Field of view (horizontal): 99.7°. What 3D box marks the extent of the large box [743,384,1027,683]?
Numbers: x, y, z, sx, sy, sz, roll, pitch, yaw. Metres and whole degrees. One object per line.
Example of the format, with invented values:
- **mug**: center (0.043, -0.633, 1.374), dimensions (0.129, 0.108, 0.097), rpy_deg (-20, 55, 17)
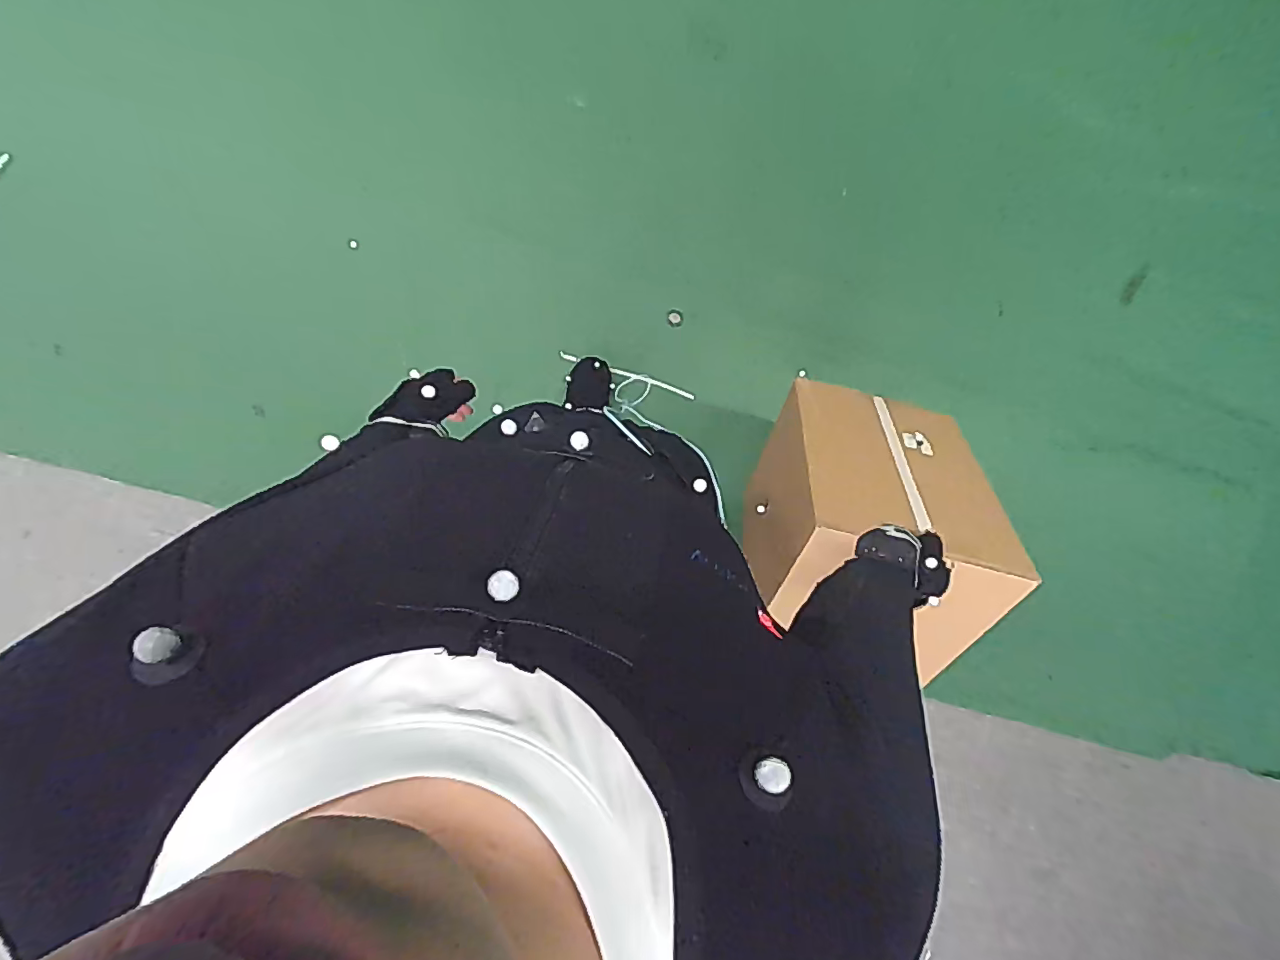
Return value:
- **large box**: center (0.381, 0.087, 0.978), dimensions (0.320, 0.408, 0.320), rpy_deg (15, 130, -2)
